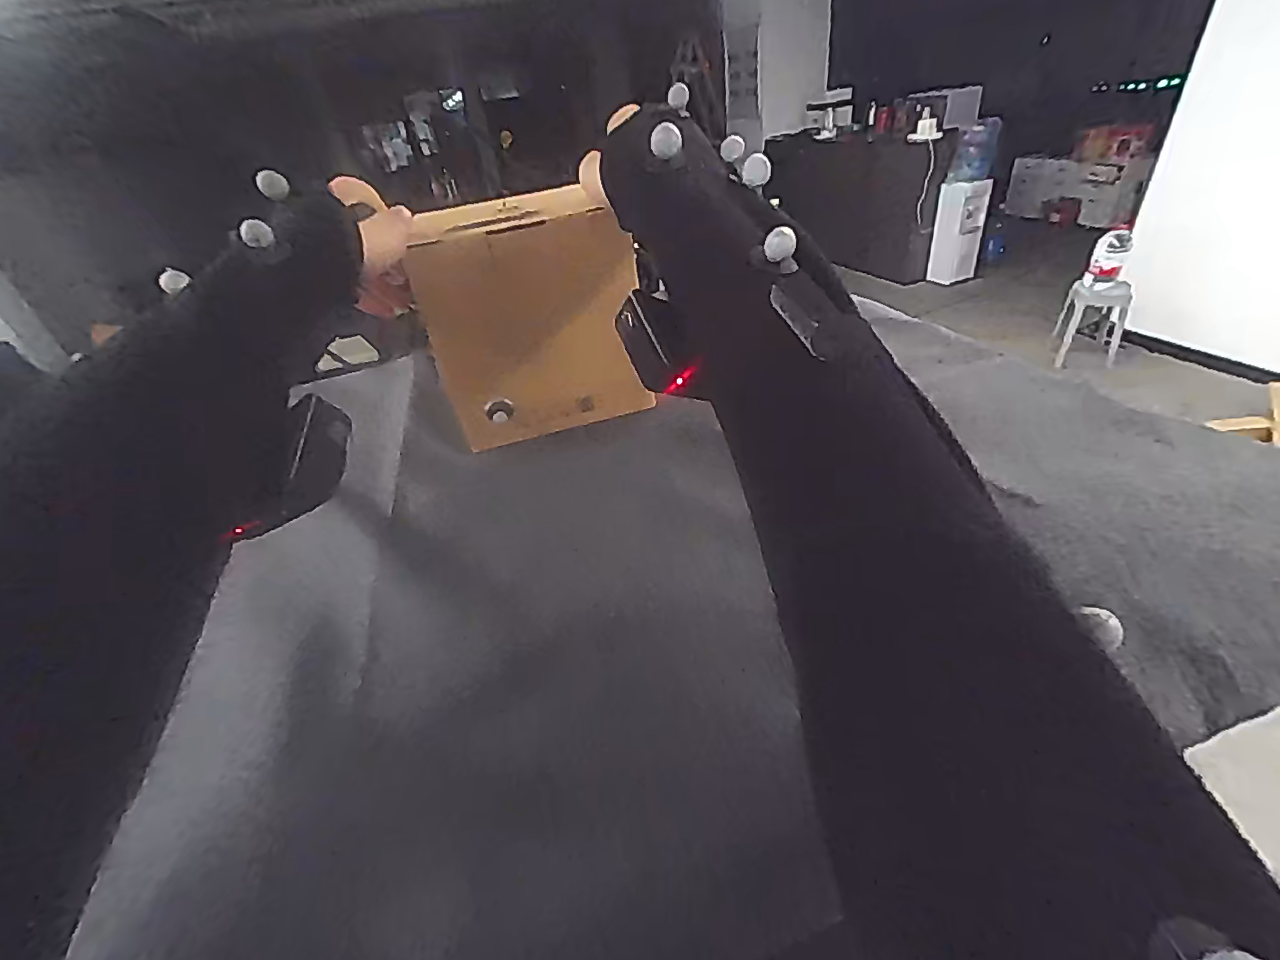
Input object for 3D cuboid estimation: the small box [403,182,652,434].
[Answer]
[{"bbox_3d":[-0.094,-0.155,0.492,0.168,0.176,0.179,-15,34,-8],"label":"small box"}]
